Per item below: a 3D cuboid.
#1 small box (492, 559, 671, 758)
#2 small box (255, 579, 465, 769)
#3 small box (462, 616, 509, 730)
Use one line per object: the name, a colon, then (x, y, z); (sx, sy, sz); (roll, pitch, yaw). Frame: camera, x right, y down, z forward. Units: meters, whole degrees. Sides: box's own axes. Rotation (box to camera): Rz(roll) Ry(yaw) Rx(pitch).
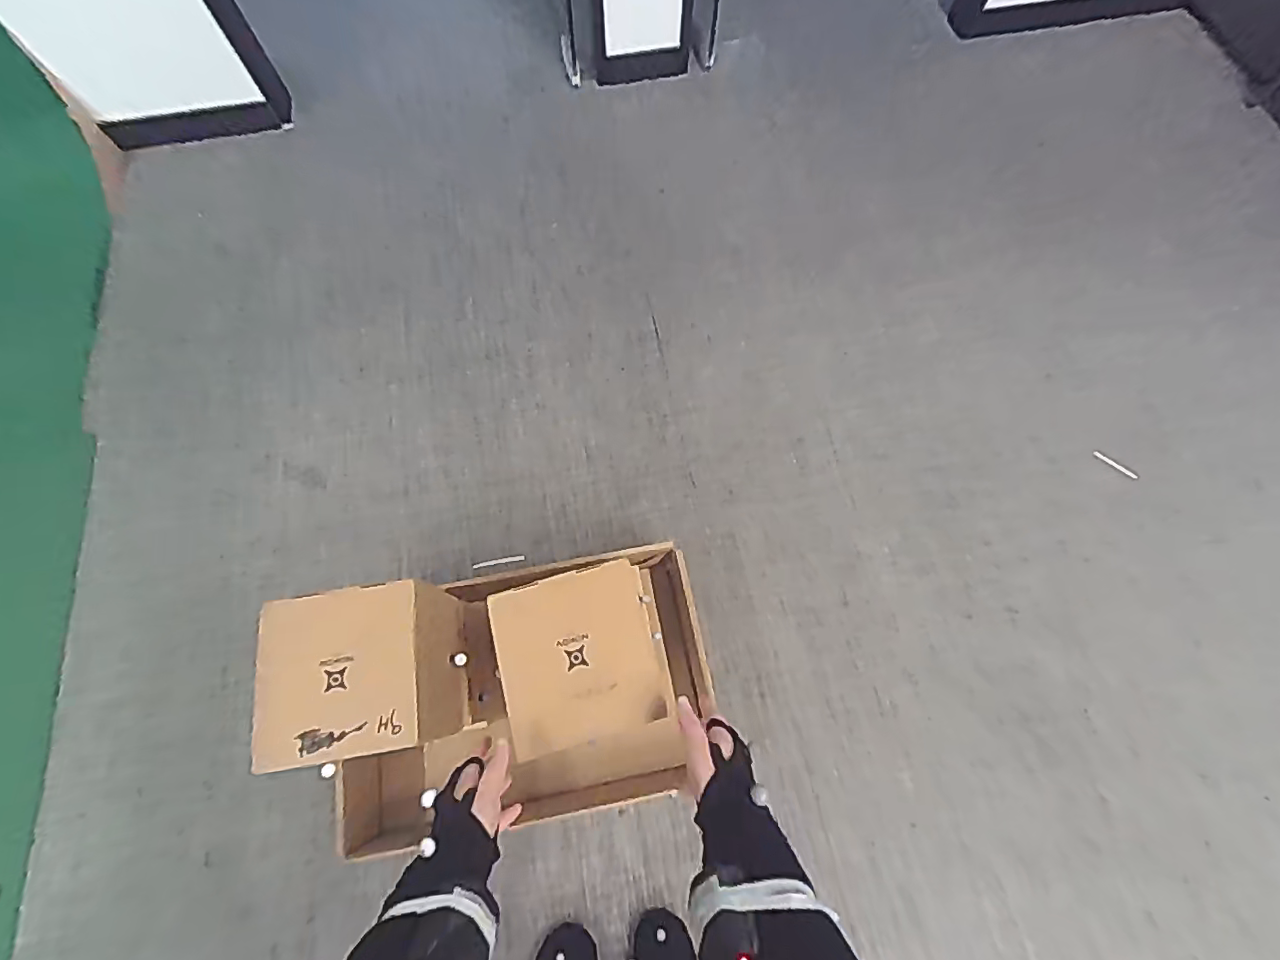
small box: (-0.067, 0.212, 0.657); (0.168, 0.176, 0.179); (-15, 73, -4)
small box: (-0.316, 0.229, 0.649); (0.168, 0.176, 0.179); (-8, 70, -3)
small box: (-0.331, 0.345, 0.957); (0.168, 0.176, 0.179); (-6, 70, -4)
